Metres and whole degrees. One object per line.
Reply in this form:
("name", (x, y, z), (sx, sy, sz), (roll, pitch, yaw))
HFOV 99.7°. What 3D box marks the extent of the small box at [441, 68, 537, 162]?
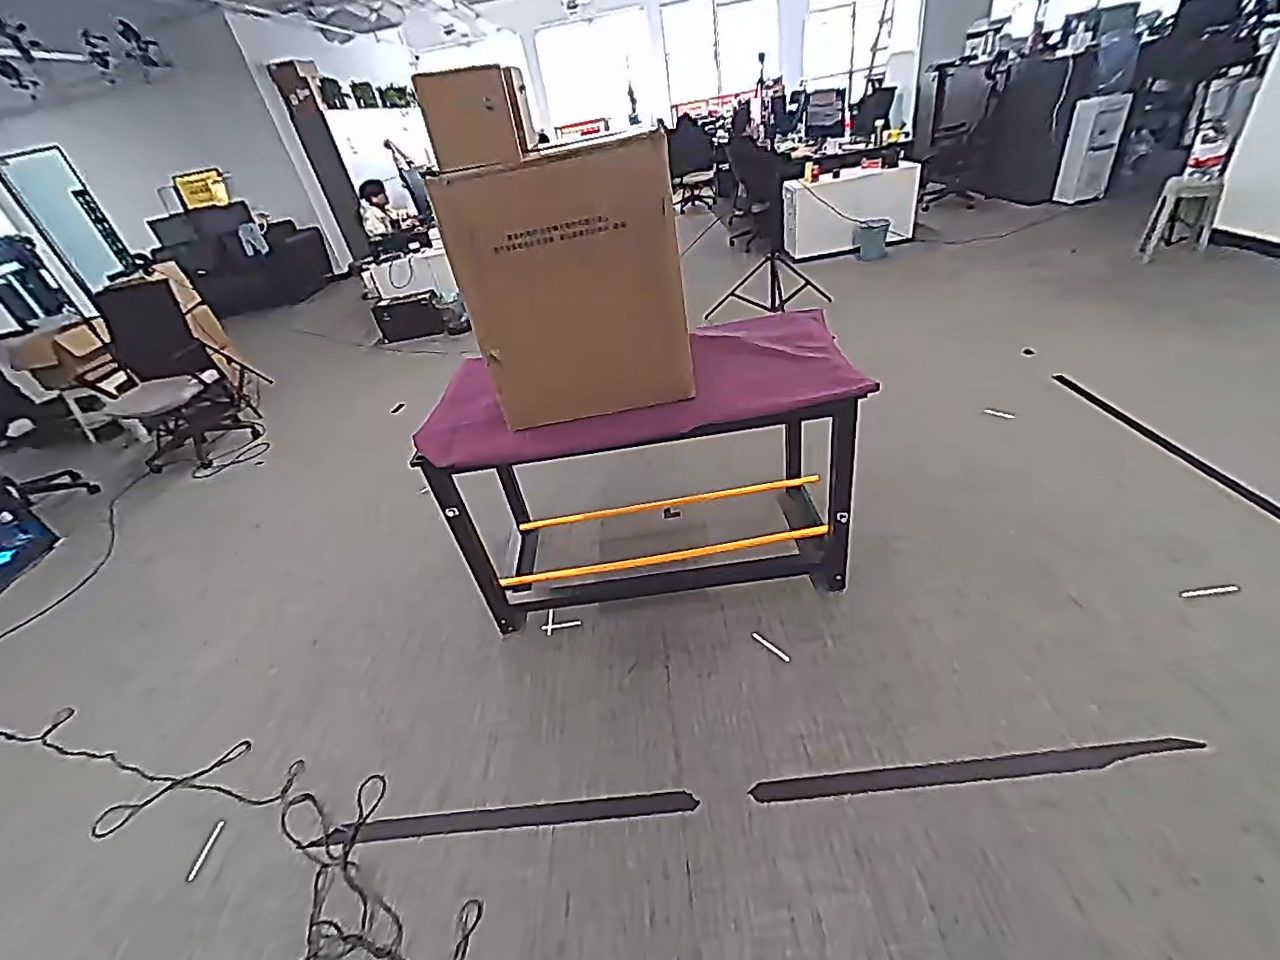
("small box", (-0.361, -0.895, 1.332), (0.168, 0.176, 0.179), (-7, 35, 4))
